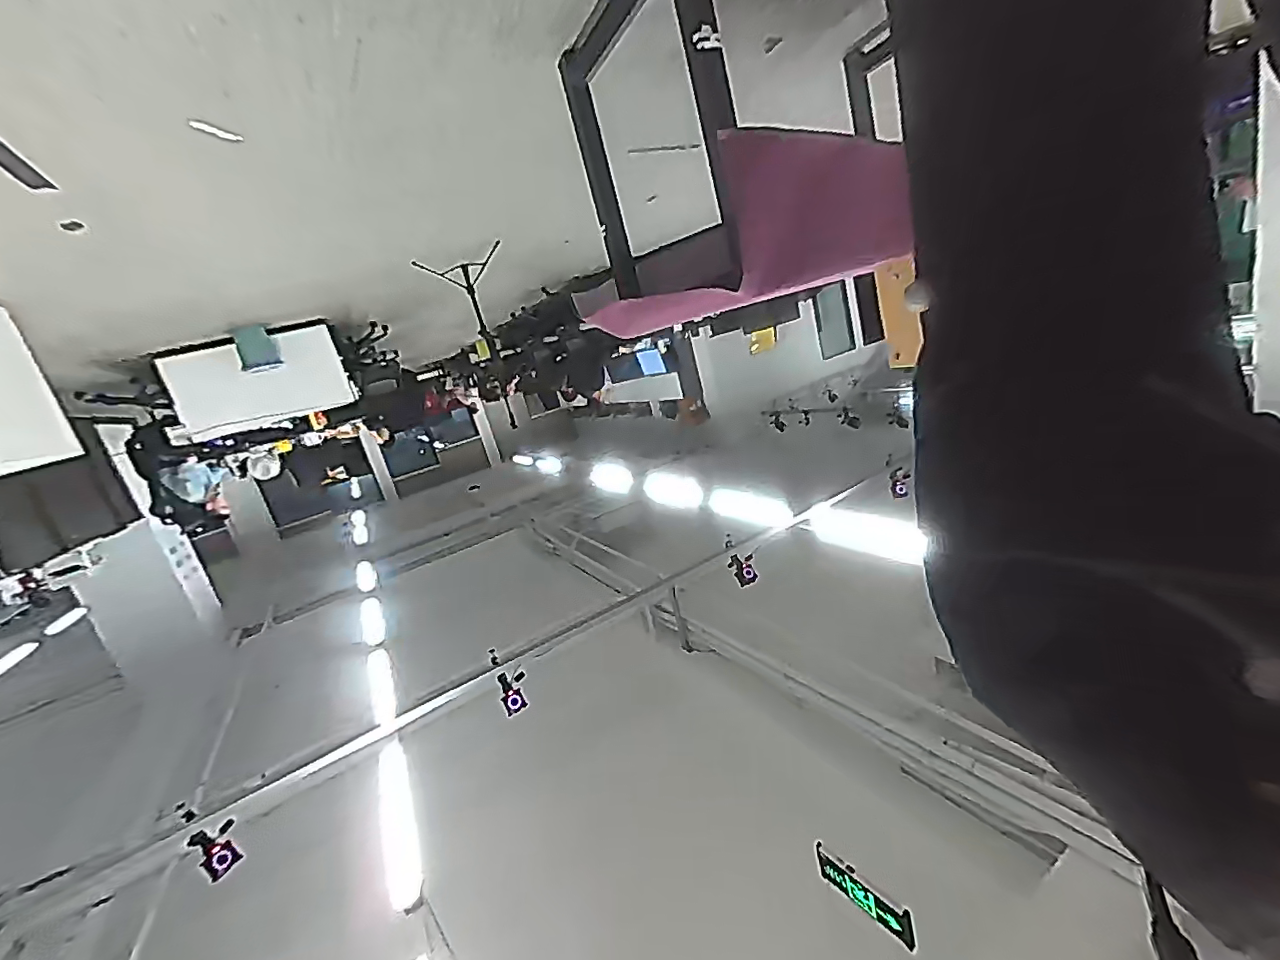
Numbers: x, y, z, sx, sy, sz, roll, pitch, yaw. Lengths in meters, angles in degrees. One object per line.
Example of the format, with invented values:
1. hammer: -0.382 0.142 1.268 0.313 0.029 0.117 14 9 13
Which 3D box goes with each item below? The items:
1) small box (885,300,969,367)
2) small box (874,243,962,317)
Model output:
1. small box: 0.902 -0.464 1.713 0.168 0.176 0.179 -20 -166 -14
2. small box: 0.854 -0.615 1.666 0.179 0.176 0.168 -19 -166 -15
